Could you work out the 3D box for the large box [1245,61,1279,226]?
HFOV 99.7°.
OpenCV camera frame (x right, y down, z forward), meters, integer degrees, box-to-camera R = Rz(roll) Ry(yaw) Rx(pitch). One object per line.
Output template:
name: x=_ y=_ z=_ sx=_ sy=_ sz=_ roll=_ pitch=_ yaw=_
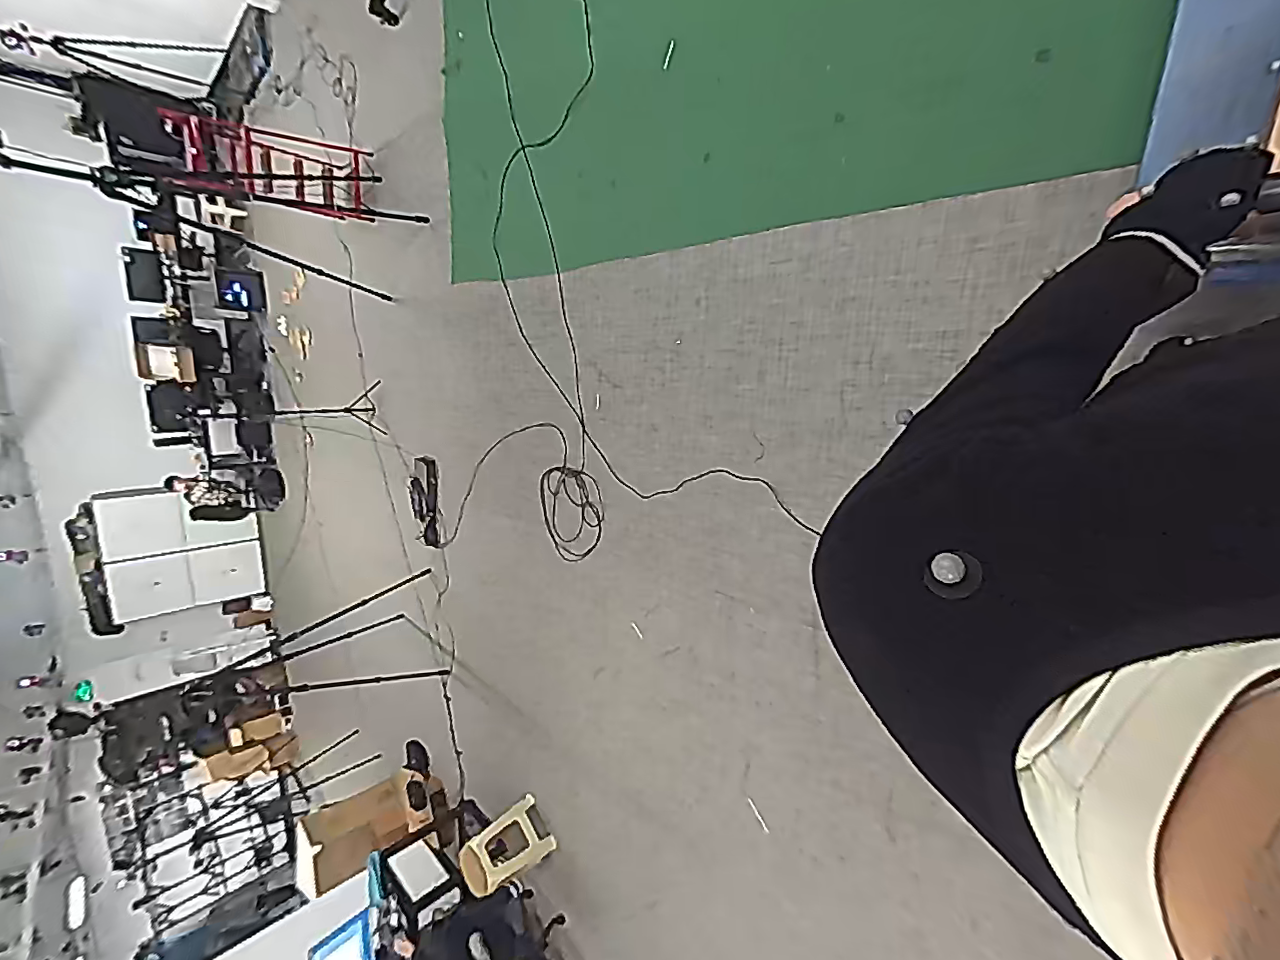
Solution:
large box: x=1.092 y=-0.608 z=0.726 sx=0.320 sy=0.320 sz=0.408 roll=14 pitch=105 yaw=42
